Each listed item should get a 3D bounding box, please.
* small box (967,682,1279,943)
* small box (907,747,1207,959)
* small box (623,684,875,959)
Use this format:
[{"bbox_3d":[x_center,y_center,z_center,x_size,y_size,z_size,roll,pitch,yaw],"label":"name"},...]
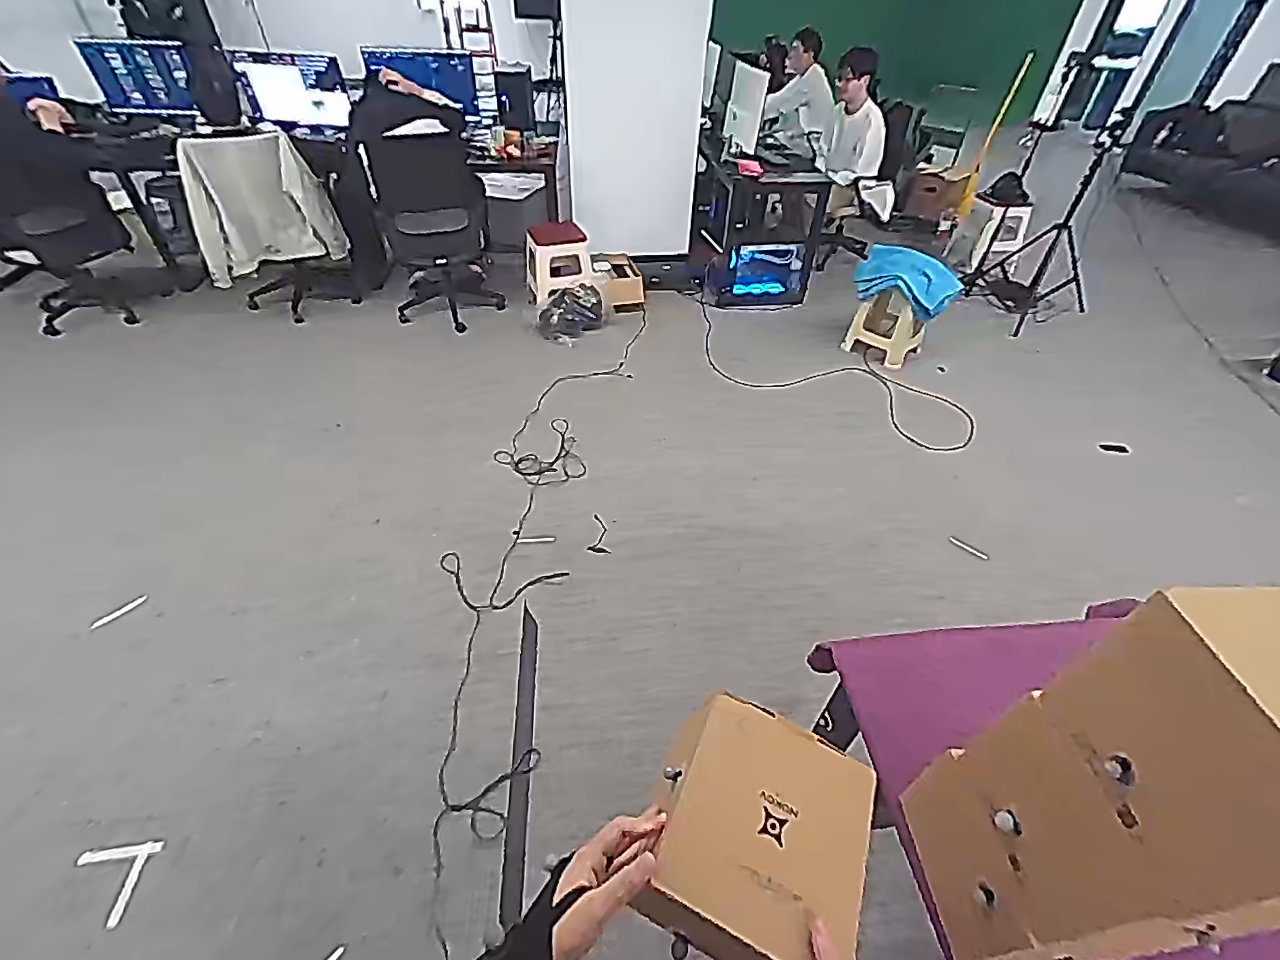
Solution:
[{"bbox_3d":[0.447,0.301,0.491,0.179,0.176,0.168,-2,43,-2],"label":"small box"},{"bbox_3d":[0.434,0.419,0.605,0.168,0.176,0.179,0,42,-2],"label":"small box"},{"bbox_3d":[0.097,0.336,0.515,0.168,0.176,0.179,25,49,7],"label":"small box"}]
